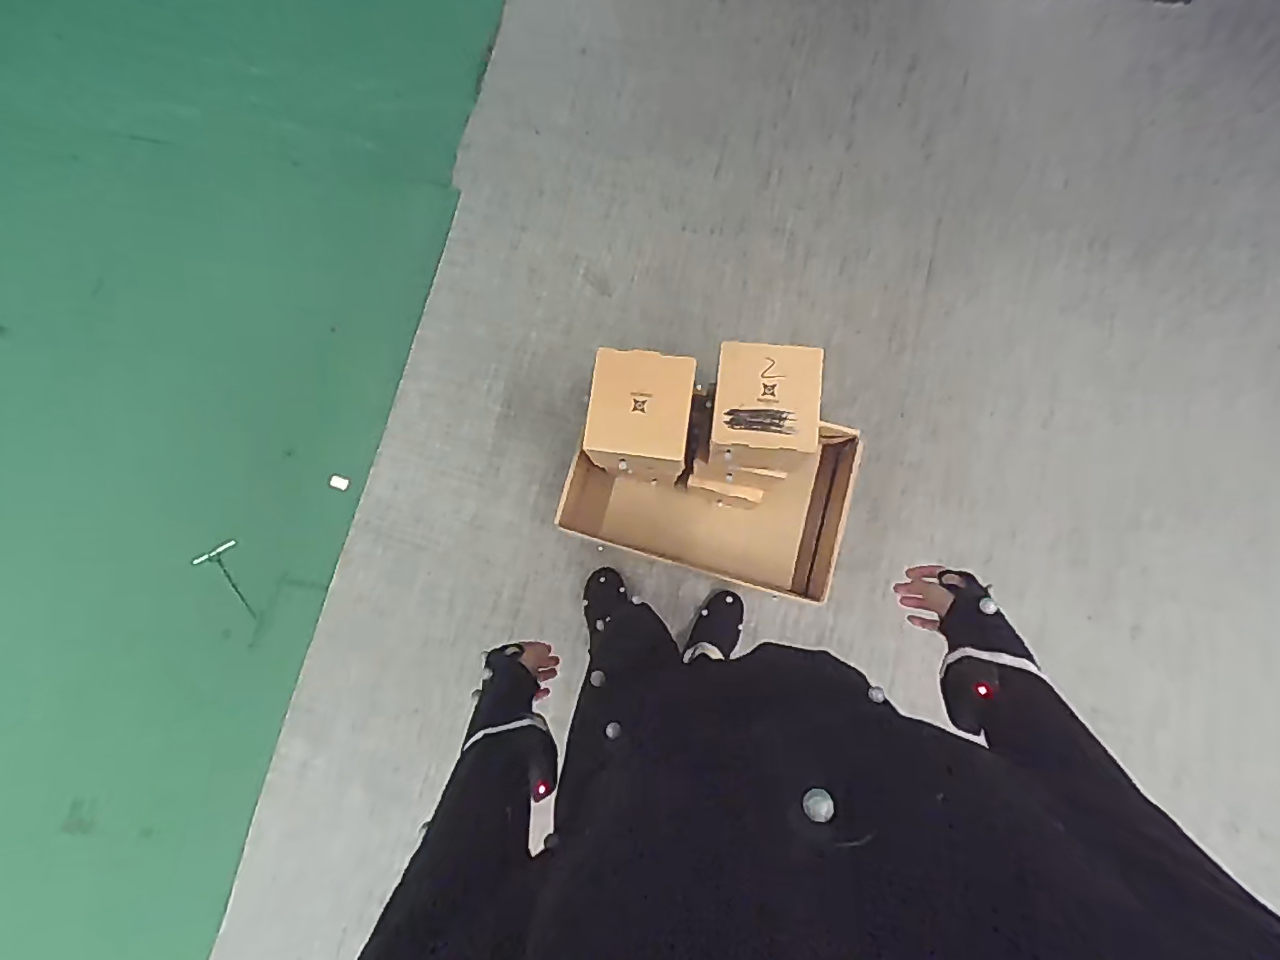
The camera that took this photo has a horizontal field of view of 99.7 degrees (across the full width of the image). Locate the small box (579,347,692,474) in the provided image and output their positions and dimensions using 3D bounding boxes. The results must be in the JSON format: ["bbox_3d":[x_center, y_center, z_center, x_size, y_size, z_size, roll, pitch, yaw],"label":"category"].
[{"bbox_3d":[0.000,-0.113,0.951,0.168,0.176,0.179,7,82,6],"label":"small box"}]

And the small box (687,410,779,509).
[{"bbox_3d":[0.210,-0.042,1.254,0.168,0.176,0.179,15,83,9],"label":"small box"}]
